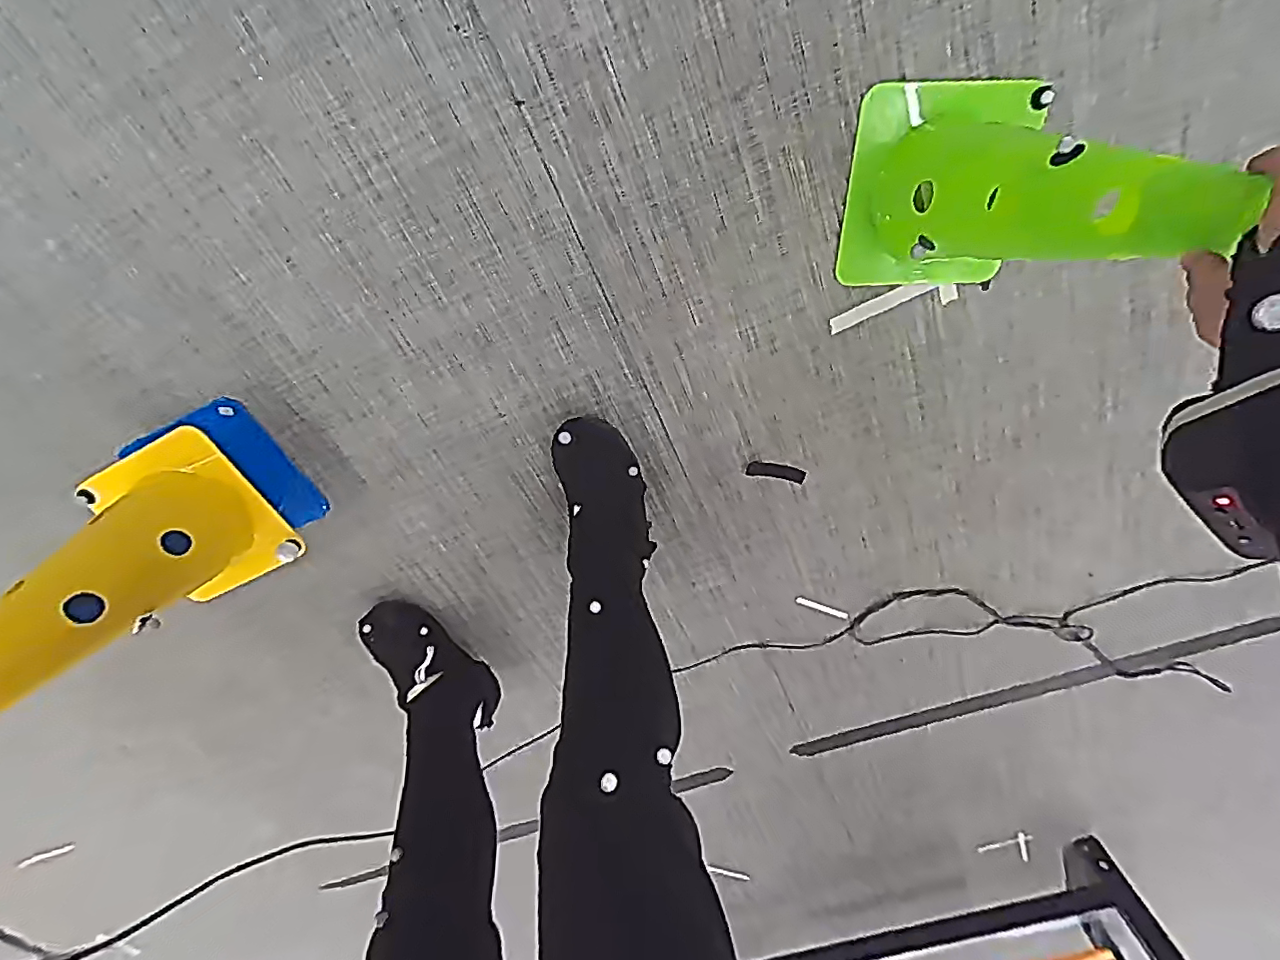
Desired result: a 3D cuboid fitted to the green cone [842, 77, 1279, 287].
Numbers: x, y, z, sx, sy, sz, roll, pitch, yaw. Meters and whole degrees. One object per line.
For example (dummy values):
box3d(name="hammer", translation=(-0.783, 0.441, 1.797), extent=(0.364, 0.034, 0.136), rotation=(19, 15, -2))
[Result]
box3d(name="green cone", translation=(0.340, -0.231, 0.451), extent=(0.200, 0.368, 0.202), rotation=(-3, 121, -1))
